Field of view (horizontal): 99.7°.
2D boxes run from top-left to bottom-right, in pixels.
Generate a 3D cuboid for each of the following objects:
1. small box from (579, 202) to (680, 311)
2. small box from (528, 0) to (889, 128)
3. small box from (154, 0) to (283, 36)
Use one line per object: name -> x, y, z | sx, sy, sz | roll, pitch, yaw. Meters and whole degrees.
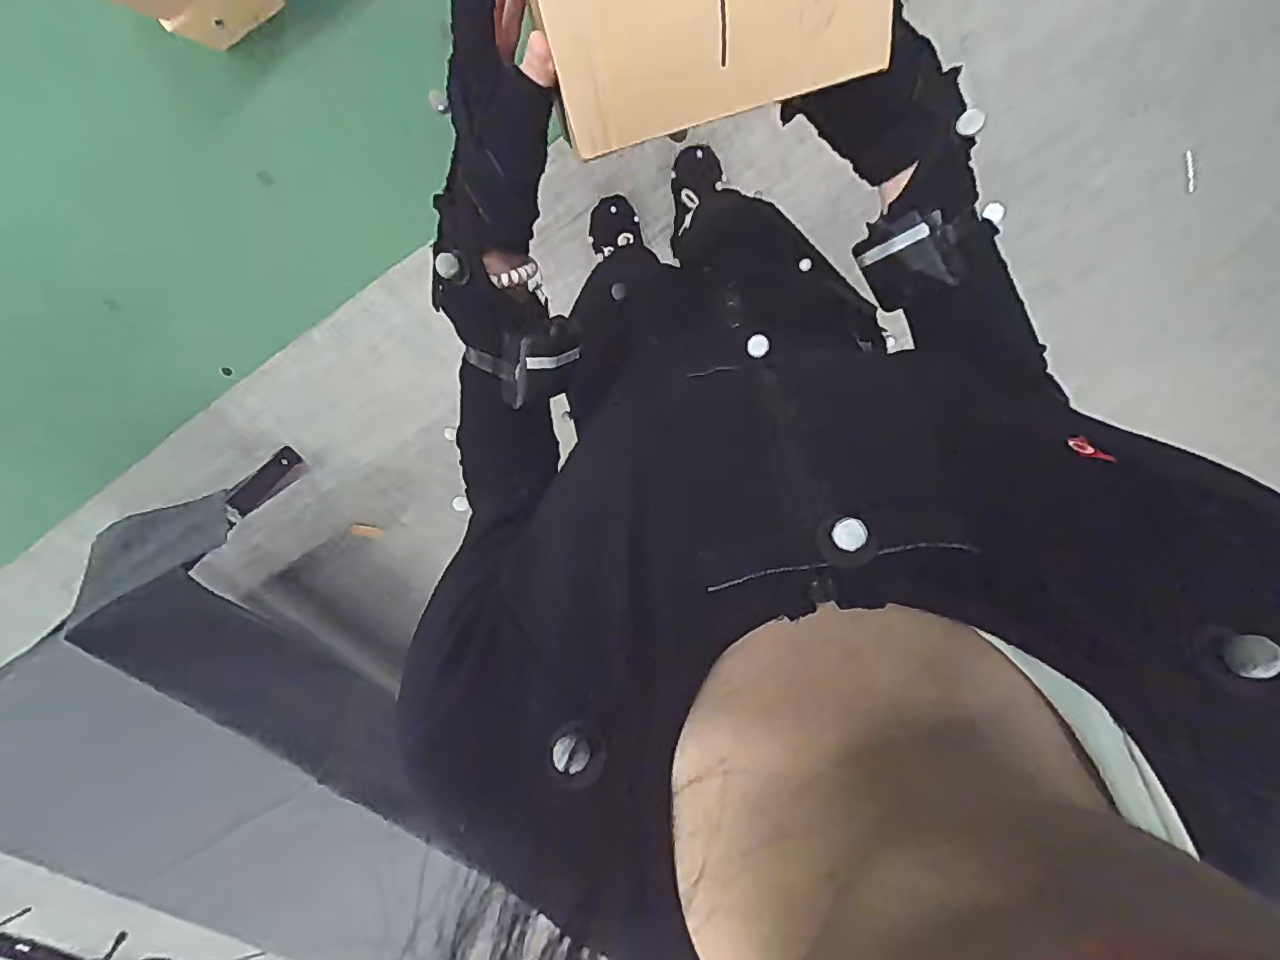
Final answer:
small box -> -0.027, -0.522, 1.259 | 0.179, 0.176, 0.168 | 27, 125, -3
small box -> 0.013, -0.308, 0.284 | 0.168, 0.176, 0.179 | -16, 127, 1
small box -> -0.773, -0.915, 0.939 | 0.168, 0.176, 0.179 | -26, 118, 8
